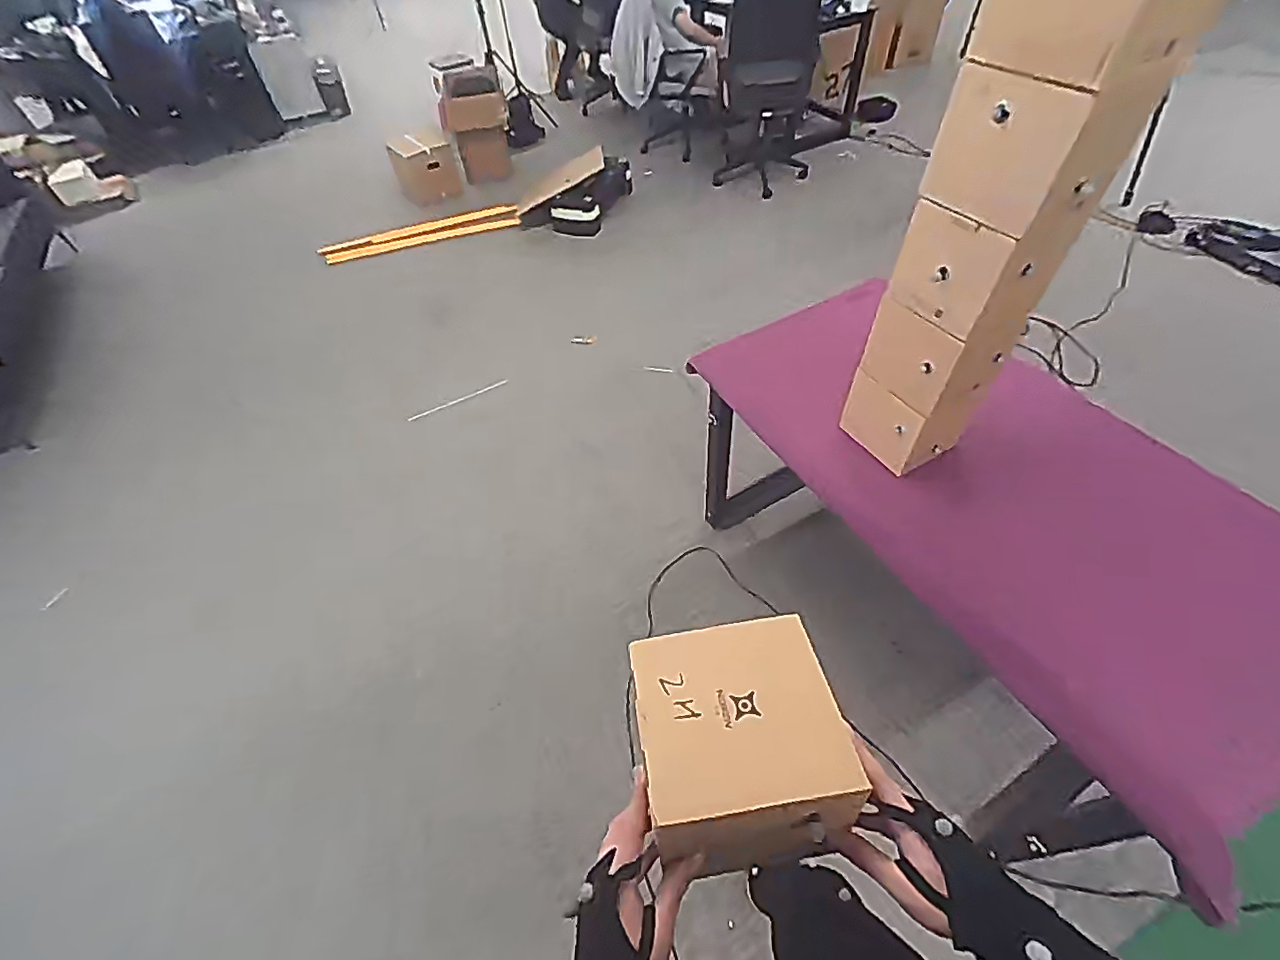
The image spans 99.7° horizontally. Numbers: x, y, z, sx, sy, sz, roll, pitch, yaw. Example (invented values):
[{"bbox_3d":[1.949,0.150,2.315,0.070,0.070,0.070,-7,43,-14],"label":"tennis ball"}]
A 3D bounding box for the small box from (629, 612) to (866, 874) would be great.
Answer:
[{"bbox_3d":[0.090,0.257,0.530,0.179,0.176,0.168,-9,40,-2],"label":"small box"}]

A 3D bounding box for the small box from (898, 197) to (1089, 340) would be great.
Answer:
[{"bbox_3d":[0.536,-0.348,0.847,0.179,0.176,0.168,-26,54,-16],"label":"small box"}]

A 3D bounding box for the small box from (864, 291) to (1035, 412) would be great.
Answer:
[{"bbox_3d":[0.541,-0.243,0.971,0.168,0.176,0.179,-25,53,-16],"label":"small box"}]

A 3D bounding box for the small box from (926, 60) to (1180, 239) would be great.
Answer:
[{"bbox_3d":[0.524,-0.450,0.718,0.168,0.176,0.179,-26,55,-17],"label":"small box"}]

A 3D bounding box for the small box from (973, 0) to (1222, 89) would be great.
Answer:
[{"bbox_3d":[0.519,-0.551,0.591,0.168,0.176,0.179,-26,53,-16],"label":"small box"}]
